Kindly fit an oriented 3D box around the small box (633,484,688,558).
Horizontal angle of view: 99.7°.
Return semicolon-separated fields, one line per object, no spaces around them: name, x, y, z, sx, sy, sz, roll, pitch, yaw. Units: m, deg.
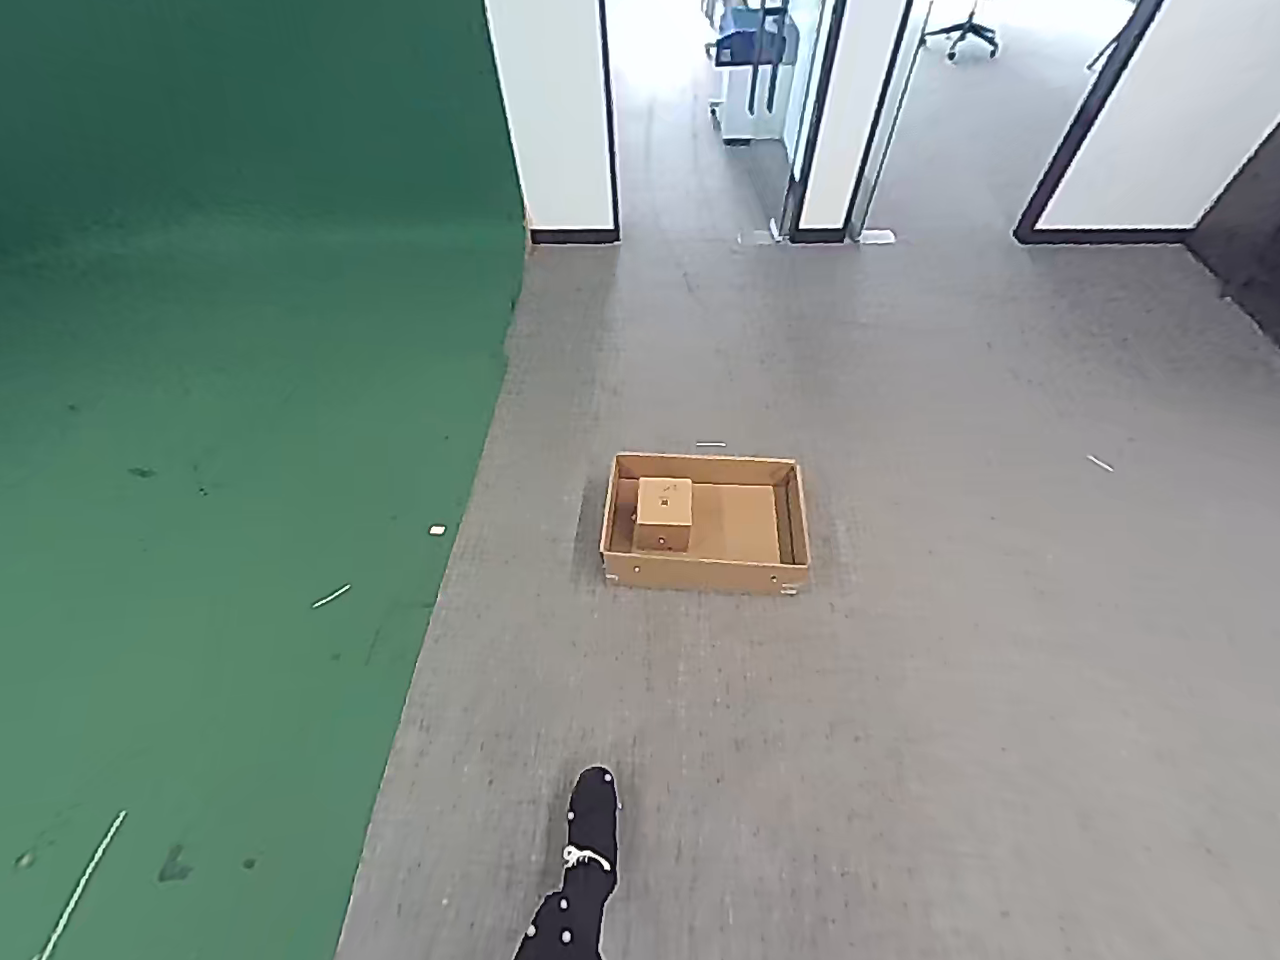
small box;0.066;0.133;1.718;0.168;0.176;0.179;3;53;2
